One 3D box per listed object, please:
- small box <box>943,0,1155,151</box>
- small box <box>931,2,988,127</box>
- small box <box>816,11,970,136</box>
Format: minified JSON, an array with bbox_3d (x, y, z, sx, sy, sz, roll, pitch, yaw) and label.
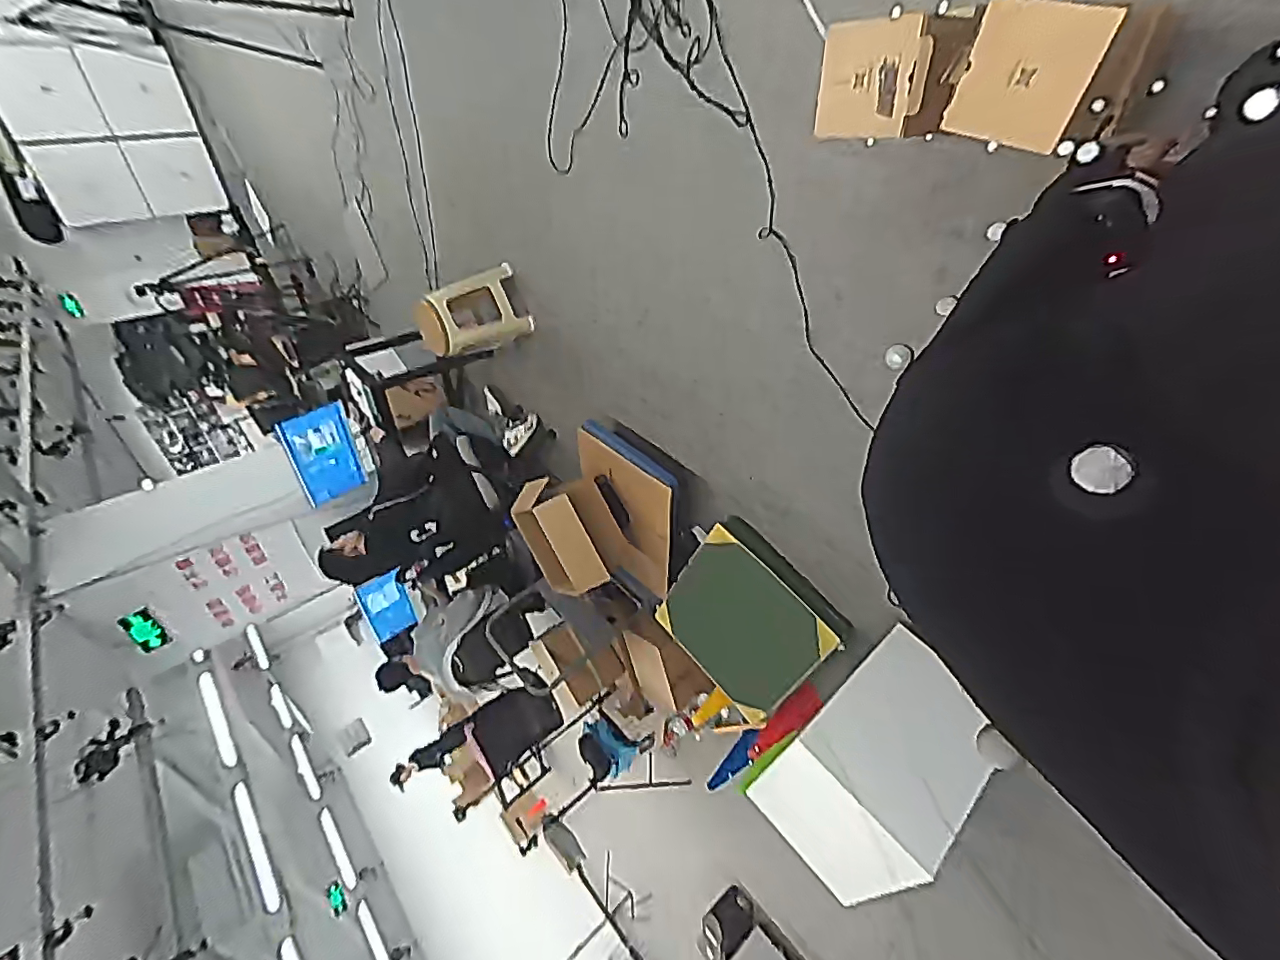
[{"bbox_3d":[0.608,-0.616,0.811,0.179,0.176,0.168,40,143,31],"label":"small box"},{"bbox_3d":[0.575,-0.781,1.034,0.168,0.176,0.179,27,135,43],"label":"small box"},{"bbox_3d":[0.445,-0.714,0.957,0.179,0.176,0.168,33,138,39],"label":"small box"}]
